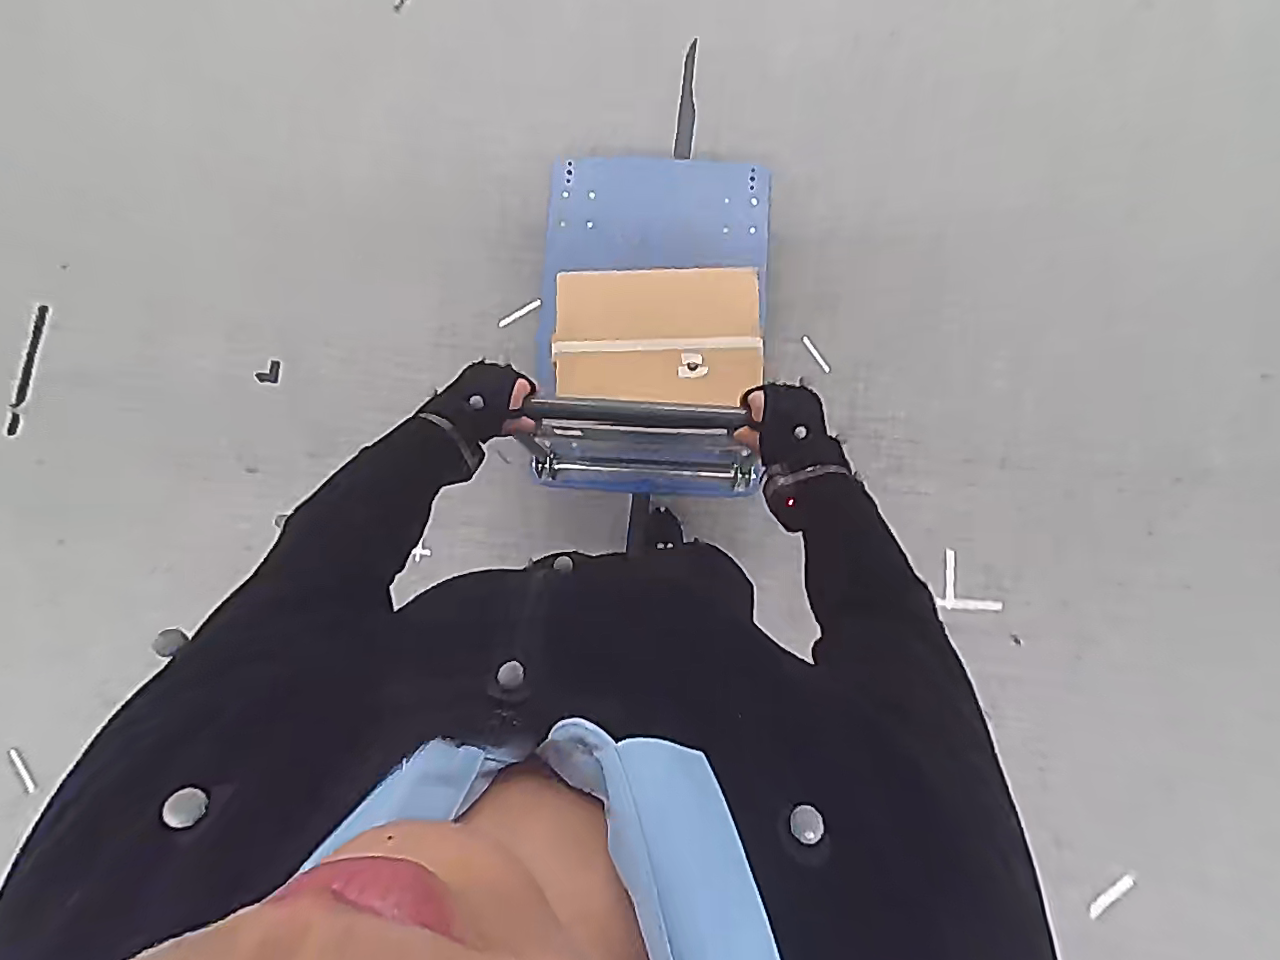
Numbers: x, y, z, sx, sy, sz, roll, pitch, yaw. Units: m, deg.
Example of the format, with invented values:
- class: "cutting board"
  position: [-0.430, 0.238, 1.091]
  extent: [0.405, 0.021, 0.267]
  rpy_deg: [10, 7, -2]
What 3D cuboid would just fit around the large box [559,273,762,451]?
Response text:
- class: "large box"
  position: [0.038, -0.245, 1.221]
  extent: [0.408, 0.320, 0.320]
  rpy_deg: [-1, 85, 0]
